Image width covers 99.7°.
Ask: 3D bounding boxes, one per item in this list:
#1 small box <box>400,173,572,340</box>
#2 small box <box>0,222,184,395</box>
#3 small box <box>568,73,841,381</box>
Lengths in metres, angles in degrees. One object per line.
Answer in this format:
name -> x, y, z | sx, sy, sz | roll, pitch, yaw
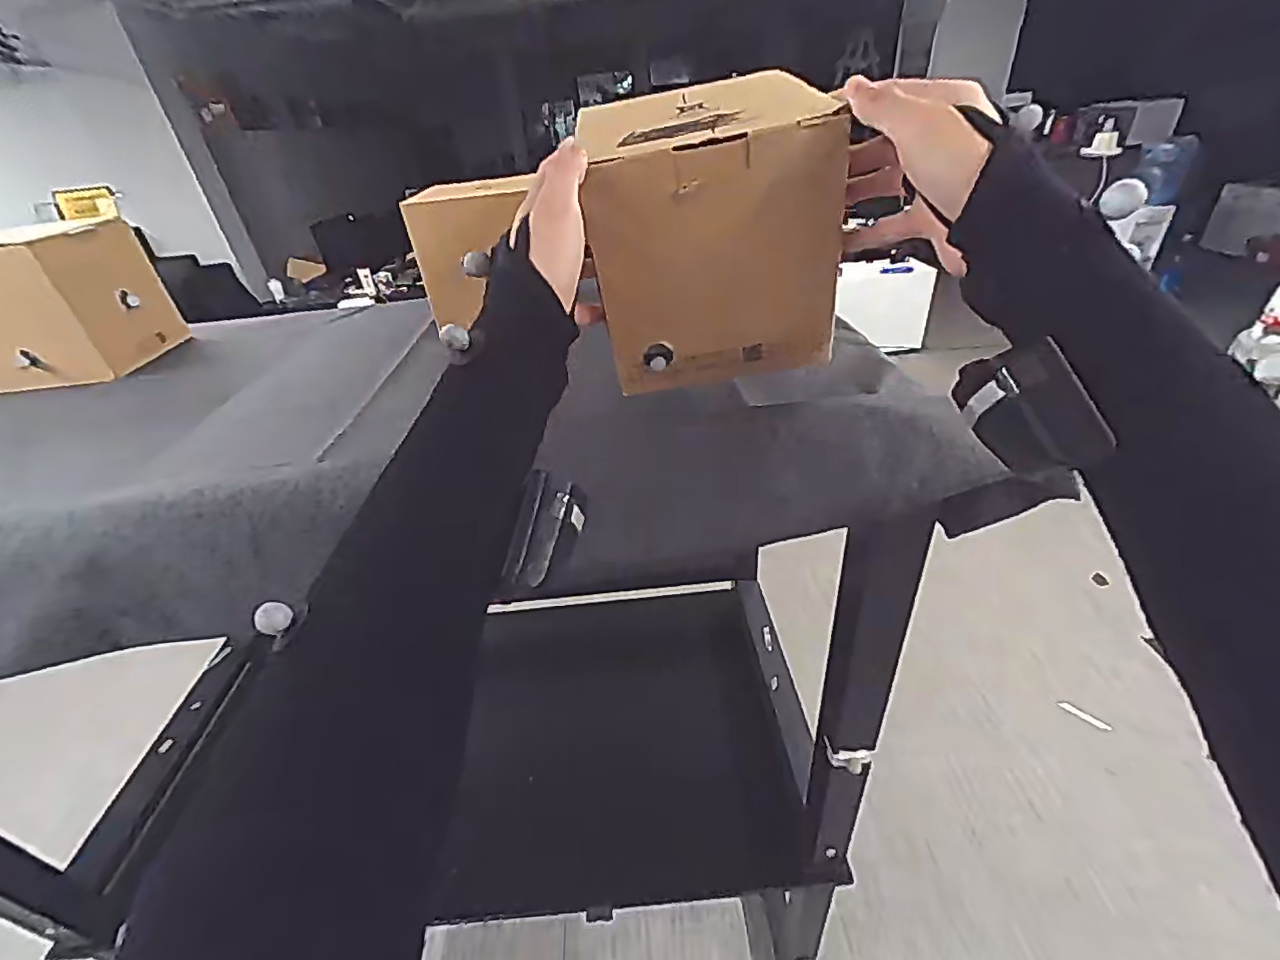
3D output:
small box -> -0.186, -0.292, 0.715 | 0.168, 0.176, 0.179 | -7, 35, -1
small box -> -0.759, -0.223, 0.701 | 0.179, 0.176, 0.168 | -7, 35, -2
small box -> 0.046, -0.192, 0.428 | 0.168, 0.176, 0.179 | -9, 43, 4
